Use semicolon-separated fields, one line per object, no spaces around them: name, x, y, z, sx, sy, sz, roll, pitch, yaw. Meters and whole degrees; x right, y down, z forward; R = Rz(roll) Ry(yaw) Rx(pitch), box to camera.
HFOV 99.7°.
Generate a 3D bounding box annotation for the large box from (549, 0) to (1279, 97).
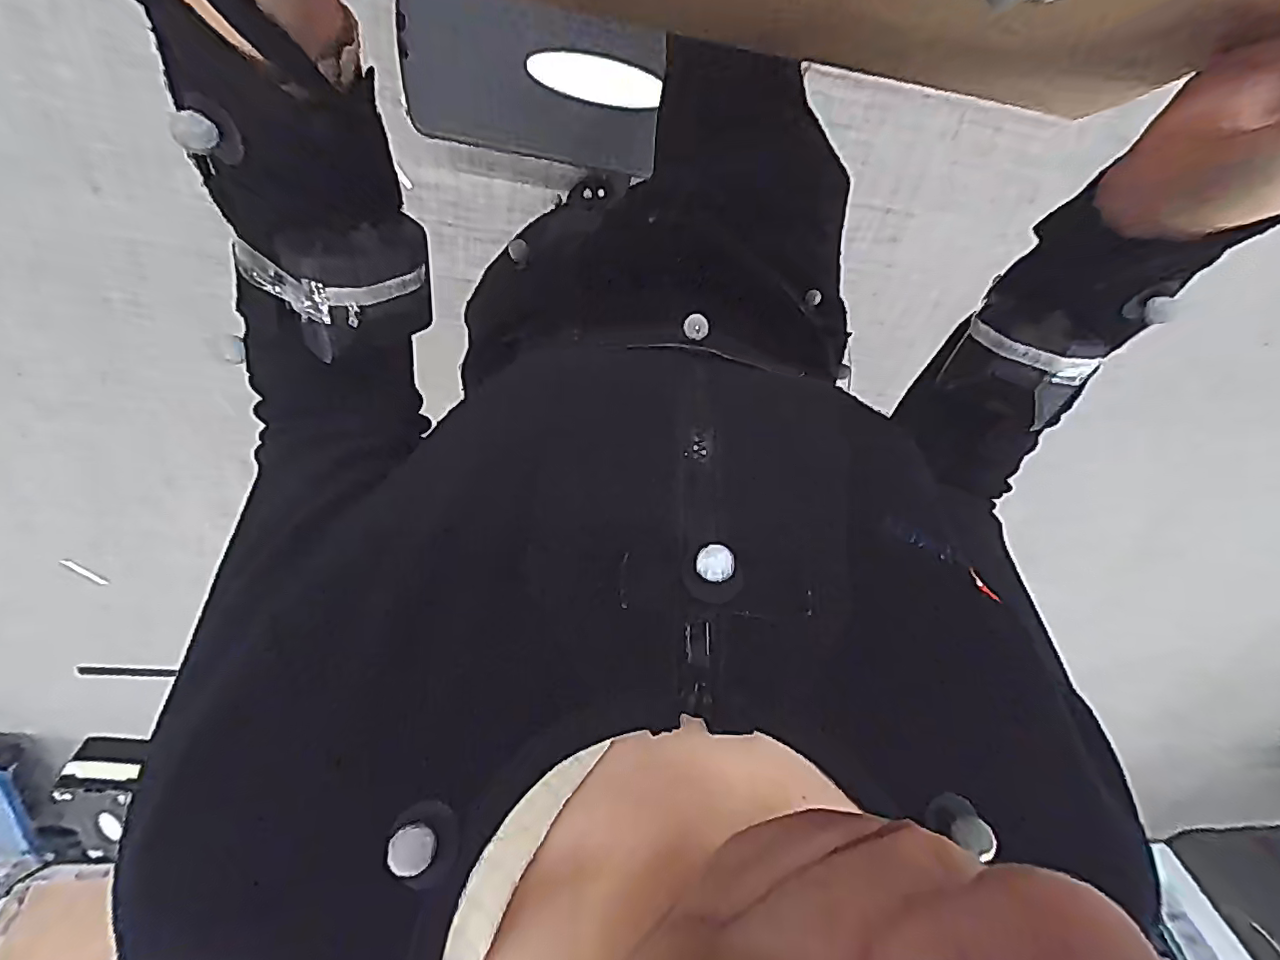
large box;0.090;-0.341;0.108;0.408;0.320;0.320;4;107;-9
